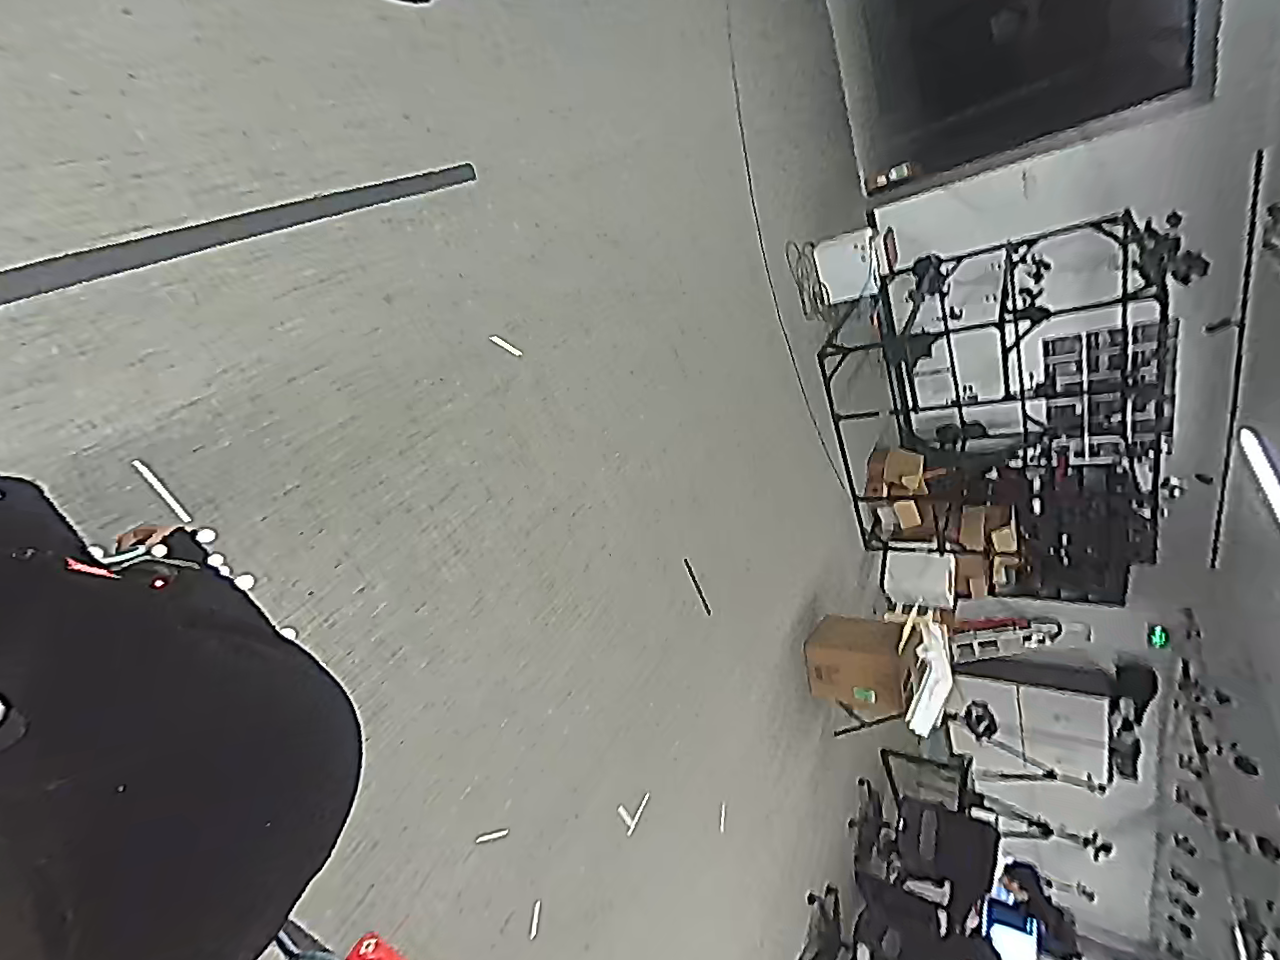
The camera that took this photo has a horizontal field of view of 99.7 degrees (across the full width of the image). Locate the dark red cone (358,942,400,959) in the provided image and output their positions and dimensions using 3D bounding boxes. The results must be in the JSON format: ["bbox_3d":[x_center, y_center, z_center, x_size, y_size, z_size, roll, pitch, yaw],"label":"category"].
[{"bbox_3d":[-0.561,1.288,1.242,0.201,0.394,0.202,-49,125,-42],"label":"dark red cone"}]
